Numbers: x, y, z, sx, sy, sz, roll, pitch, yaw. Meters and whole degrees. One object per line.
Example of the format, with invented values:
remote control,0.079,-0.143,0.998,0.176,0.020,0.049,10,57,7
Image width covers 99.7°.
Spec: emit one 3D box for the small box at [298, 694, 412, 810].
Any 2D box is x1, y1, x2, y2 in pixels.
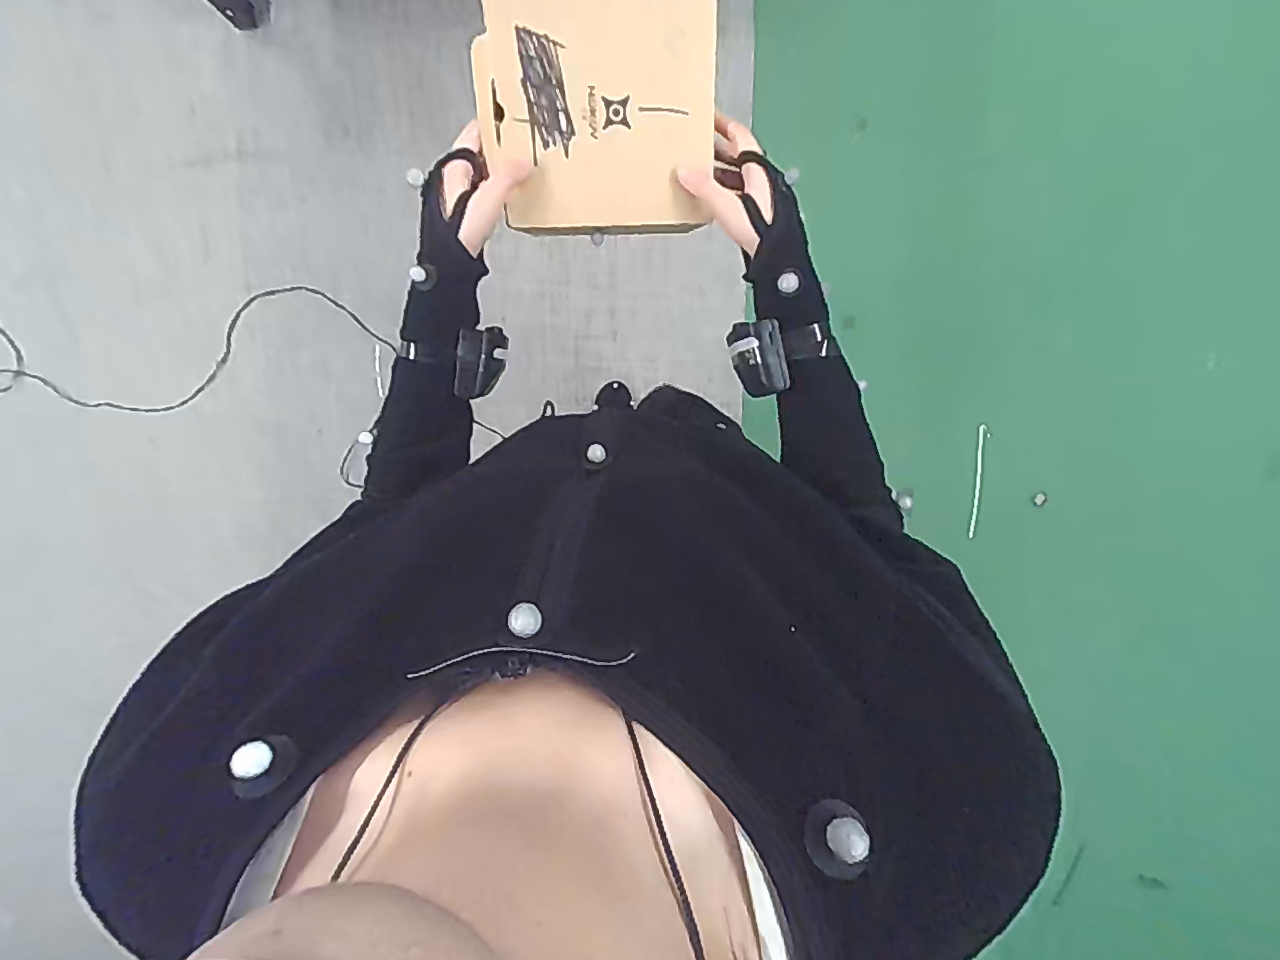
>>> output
small box,-0.671,0.645,1.295,0.168,0.176,0.179,-10,97,1
